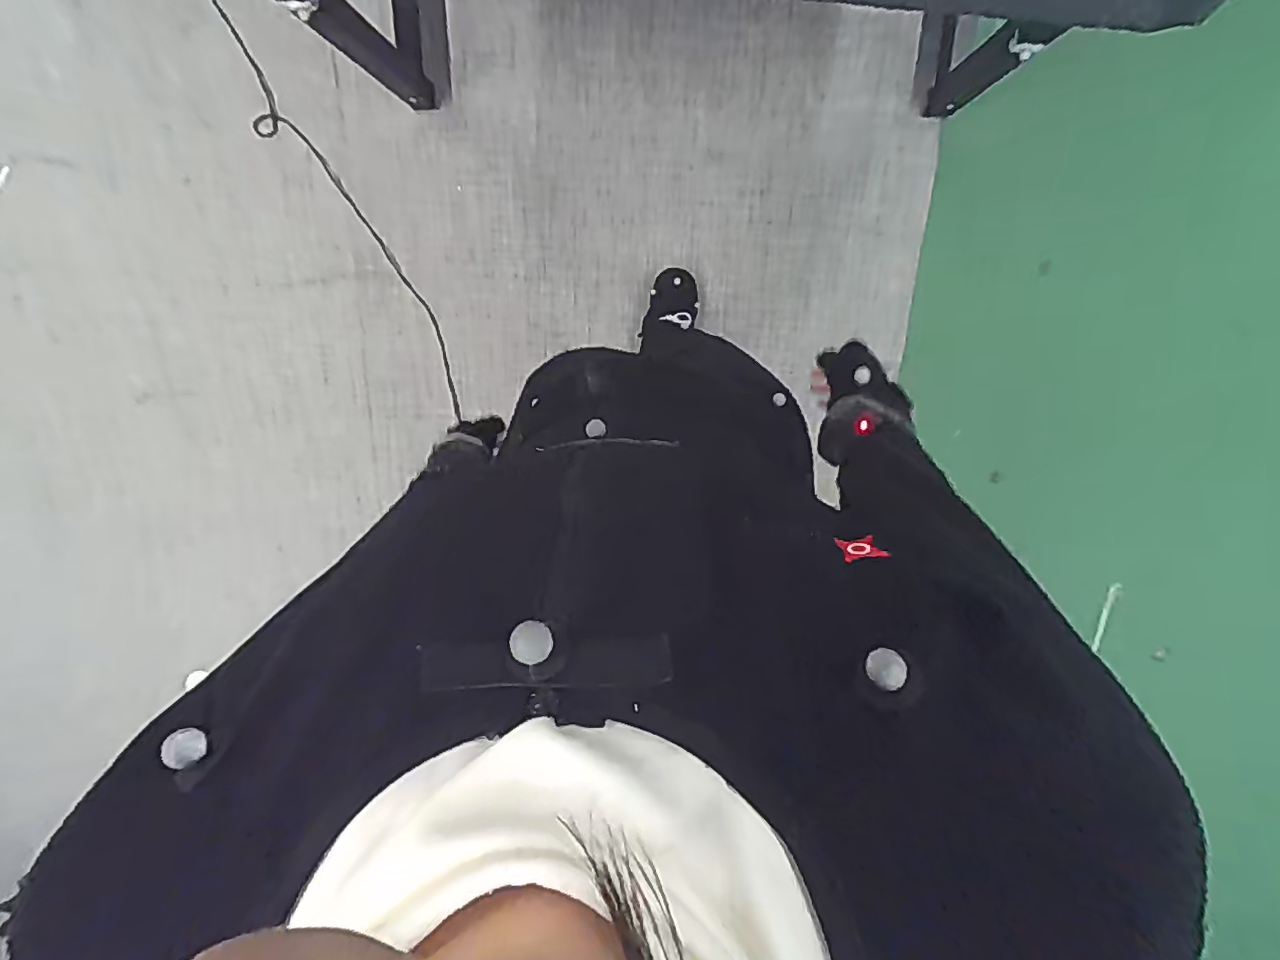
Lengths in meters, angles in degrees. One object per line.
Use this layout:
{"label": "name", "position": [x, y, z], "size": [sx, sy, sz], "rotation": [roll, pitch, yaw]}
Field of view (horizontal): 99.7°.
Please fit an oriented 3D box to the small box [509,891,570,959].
{"label": "small box", "position": [-0.345, 1.573, 1.882], "size": [0.179, 0.176, 0.168], "rotation": [2, 108, 1]}
